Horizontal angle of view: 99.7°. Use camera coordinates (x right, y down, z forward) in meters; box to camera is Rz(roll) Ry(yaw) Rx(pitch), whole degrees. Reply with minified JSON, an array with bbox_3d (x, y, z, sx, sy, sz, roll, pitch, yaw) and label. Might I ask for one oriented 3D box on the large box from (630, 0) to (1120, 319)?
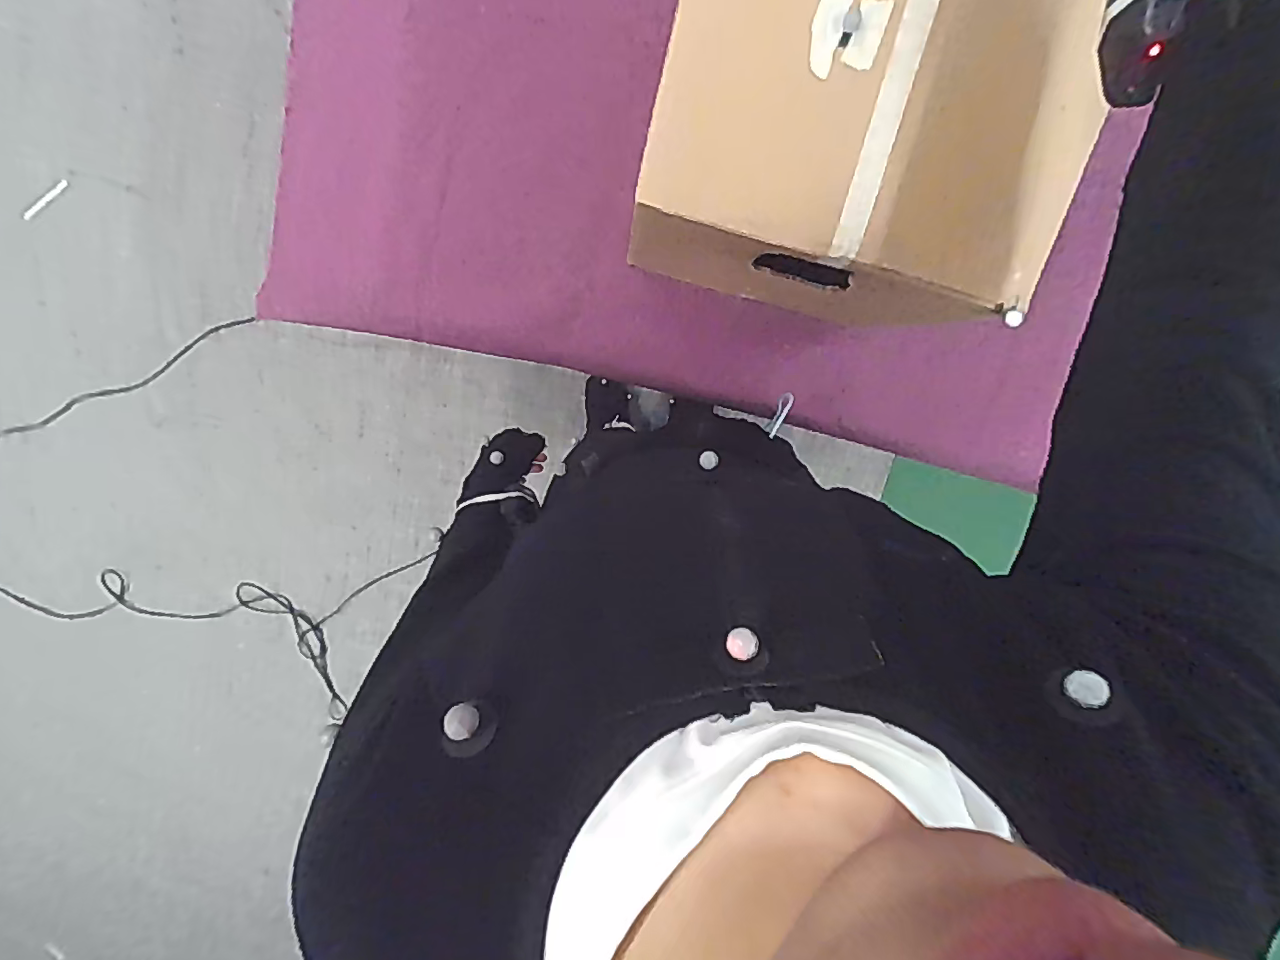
[{"bbox_3d":[0.186,-0.396,0.520,0.320,0.320,0.408,14,104,-5],"label":"large box"}]
